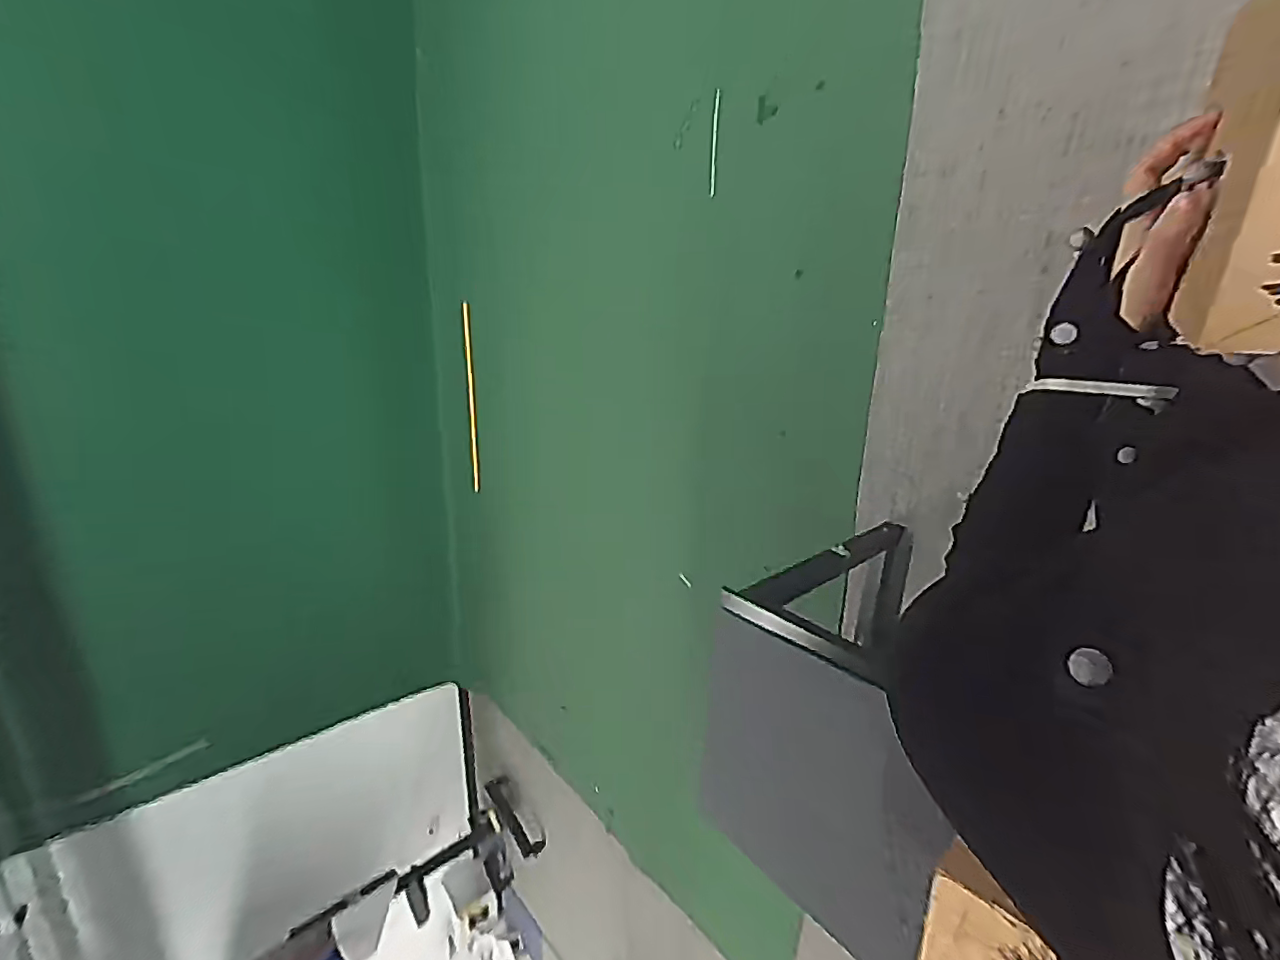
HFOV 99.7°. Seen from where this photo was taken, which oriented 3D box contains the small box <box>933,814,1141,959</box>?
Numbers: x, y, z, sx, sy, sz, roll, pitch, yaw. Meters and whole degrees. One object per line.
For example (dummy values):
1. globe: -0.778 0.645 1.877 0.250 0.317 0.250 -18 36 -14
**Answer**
1. small box: 0.490 0.575 0.674 0.168 0.176 0.179 16 111 46
